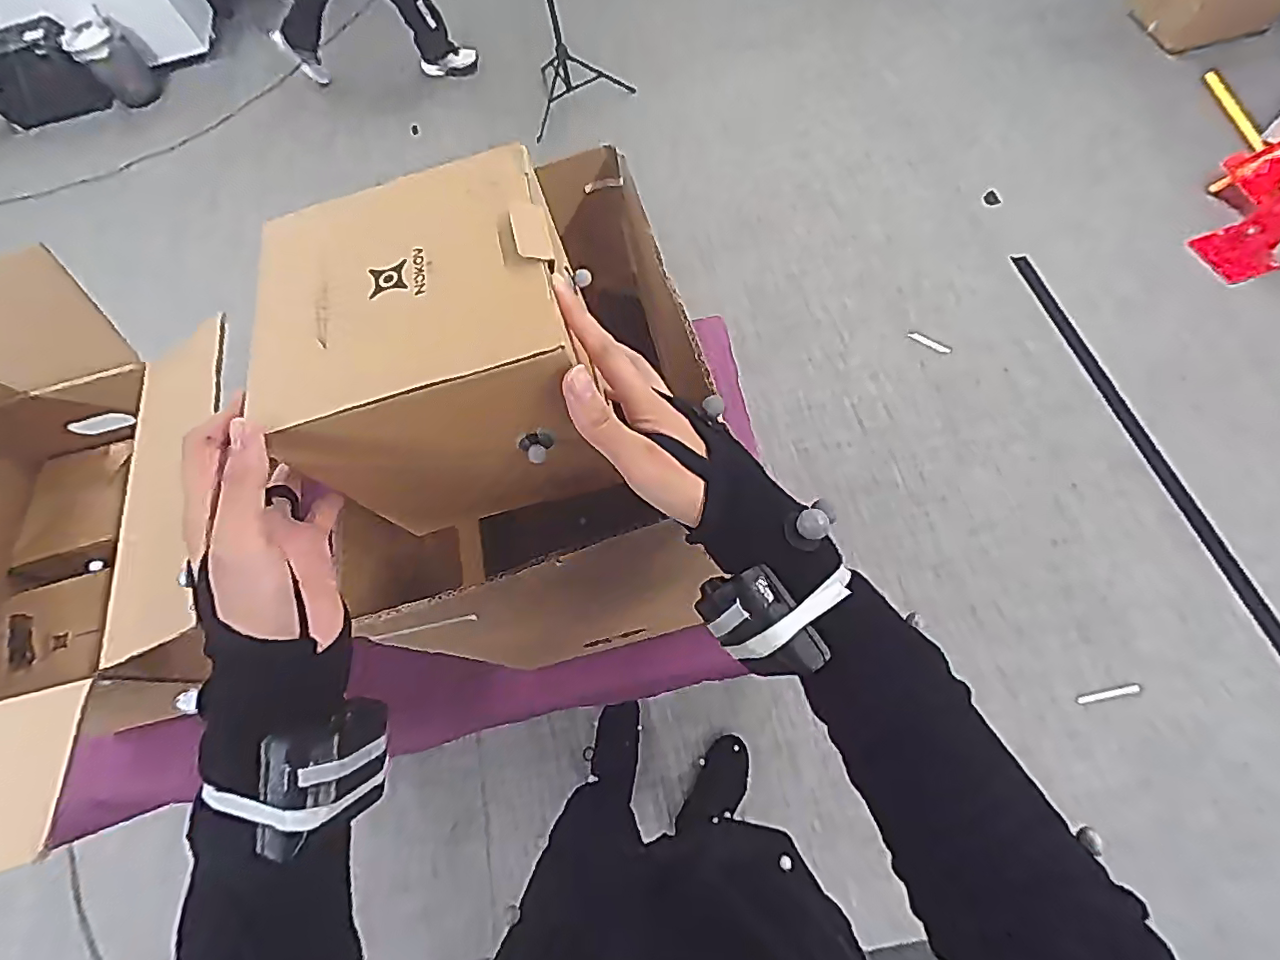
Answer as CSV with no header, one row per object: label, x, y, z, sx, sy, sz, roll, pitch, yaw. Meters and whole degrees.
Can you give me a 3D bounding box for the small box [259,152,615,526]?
small box,-0.122,-0.083,0.387,0.179,0.176,0.168,-15,65,4
